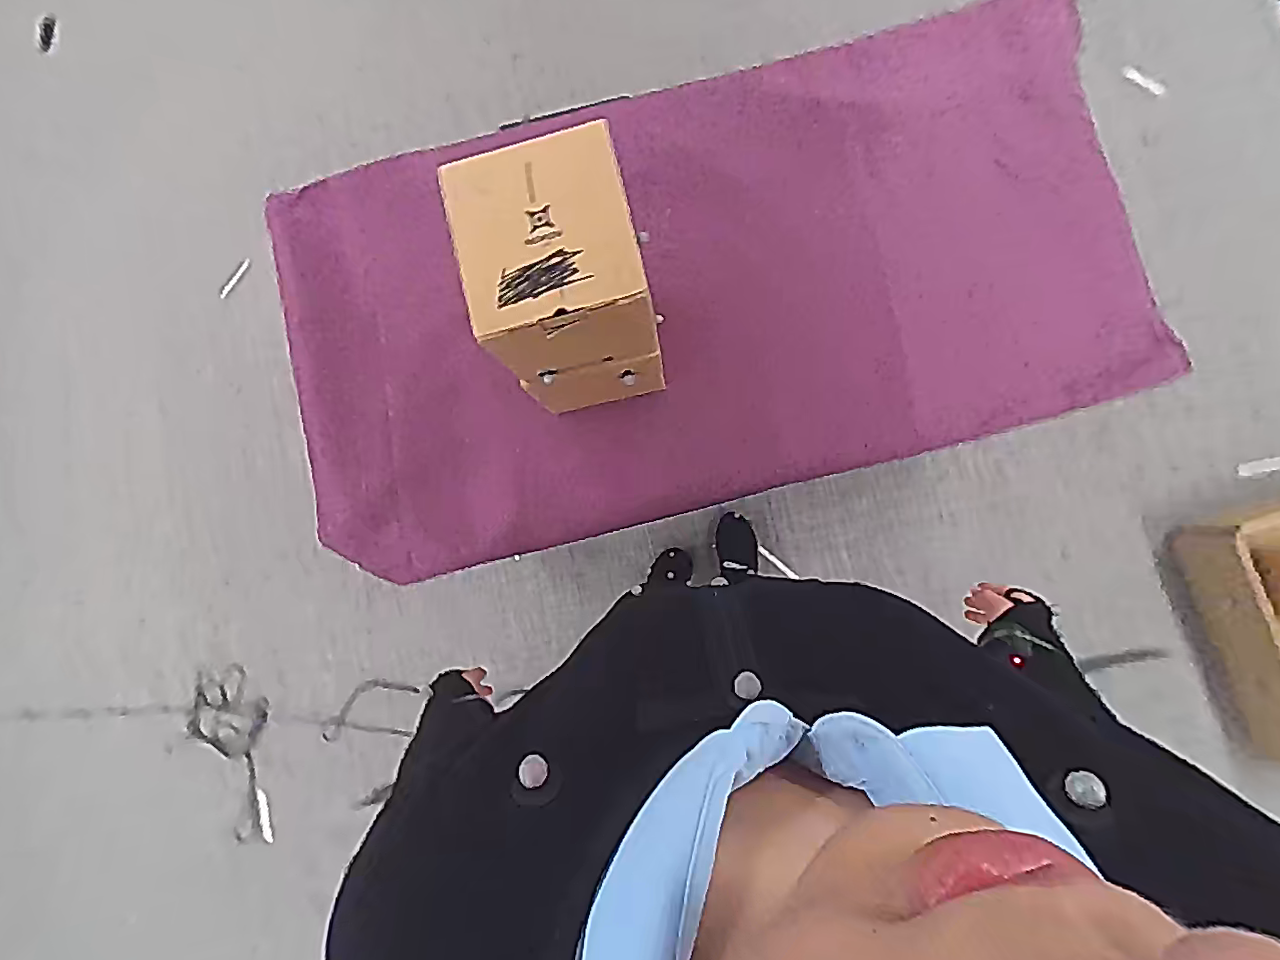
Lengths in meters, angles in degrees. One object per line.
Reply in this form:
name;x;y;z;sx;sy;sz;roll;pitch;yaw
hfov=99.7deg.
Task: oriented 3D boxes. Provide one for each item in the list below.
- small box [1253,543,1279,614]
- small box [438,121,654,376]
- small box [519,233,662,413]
small box;1.589;0.227;1.236;0.179;0.176;0.168;-8;86;4
small box;-0.085;-0.221;0.573;0.168;0.176;0.179;-15;84;3
small box;-0.069;-0.201;0.735;0.179;0.176;0.168;-13;84;4
